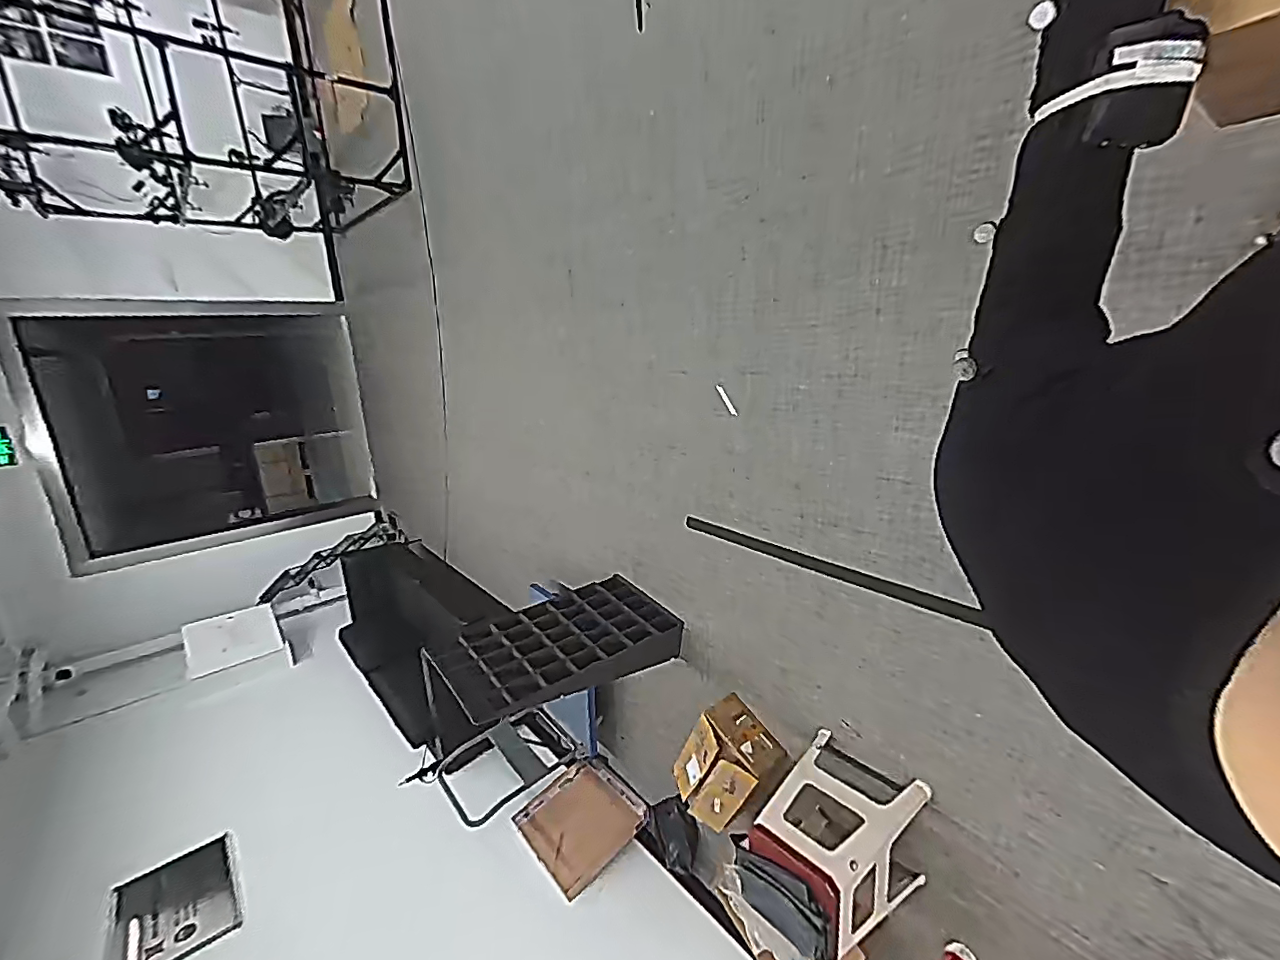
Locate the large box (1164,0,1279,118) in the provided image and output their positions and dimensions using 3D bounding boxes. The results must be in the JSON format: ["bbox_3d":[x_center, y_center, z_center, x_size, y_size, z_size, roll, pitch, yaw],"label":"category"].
[{"bbox_3d":[0.571,-0.449,0.267,0.408,0.320,0.320,11,112,49],"label":"large box"}]
